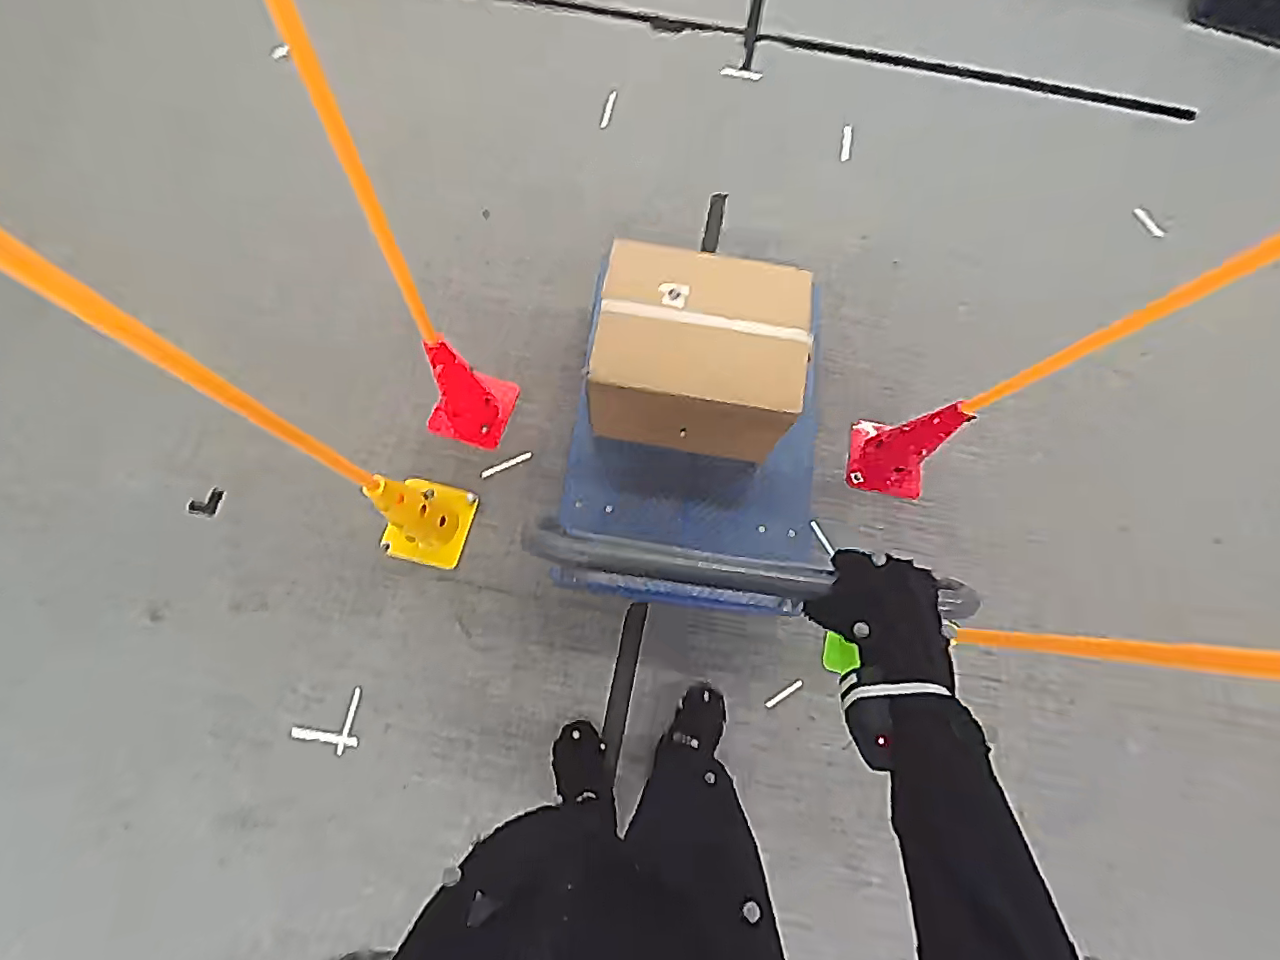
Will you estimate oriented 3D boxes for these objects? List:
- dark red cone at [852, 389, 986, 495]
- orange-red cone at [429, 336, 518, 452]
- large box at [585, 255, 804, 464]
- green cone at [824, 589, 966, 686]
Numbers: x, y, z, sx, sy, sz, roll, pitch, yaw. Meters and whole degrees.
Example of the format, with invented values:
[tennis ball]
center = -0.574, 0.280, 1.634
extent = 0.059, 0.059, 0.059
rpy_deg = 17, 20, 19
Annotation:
[dark red cone]
center = 0.685, -0.115, 1.305
extent = 0.201, 0.394, 0.202
rpy_deg = 11, 74, -1
[orange-red cone]
center = -0.442, -0.239, 1.316
extent = 0.198, 0.360, 0.199
rpy_deg = 18, 72, 2
[large box]
center = 0.111, -0.244, 1.189
extent = 0.408, 0.320, 0.320
rpy_deg = 9, 74, 1
[green cone]
center = 0.575, 0.341, 1.182
extent = 0.202, 0.368, 0.200
rpy_deg = 15, 73, 1
